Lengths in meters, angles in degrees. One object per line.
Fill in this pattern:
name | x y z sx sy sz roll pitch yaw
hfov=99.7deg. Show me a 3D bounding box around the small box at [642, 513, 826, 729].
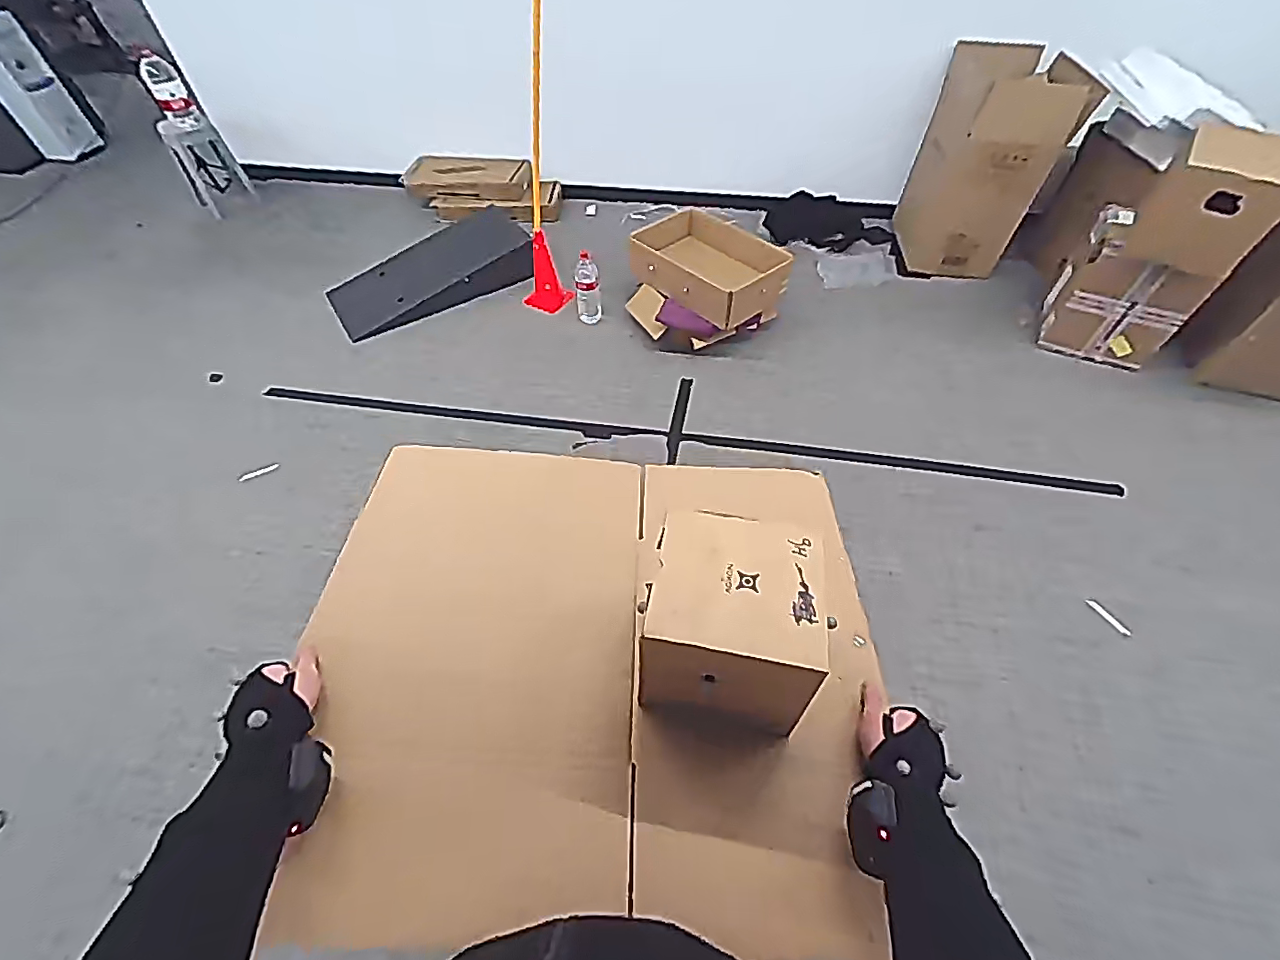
small box | 0.103 0.162 0.617 0.179 0.176 0.168 8 47 8
